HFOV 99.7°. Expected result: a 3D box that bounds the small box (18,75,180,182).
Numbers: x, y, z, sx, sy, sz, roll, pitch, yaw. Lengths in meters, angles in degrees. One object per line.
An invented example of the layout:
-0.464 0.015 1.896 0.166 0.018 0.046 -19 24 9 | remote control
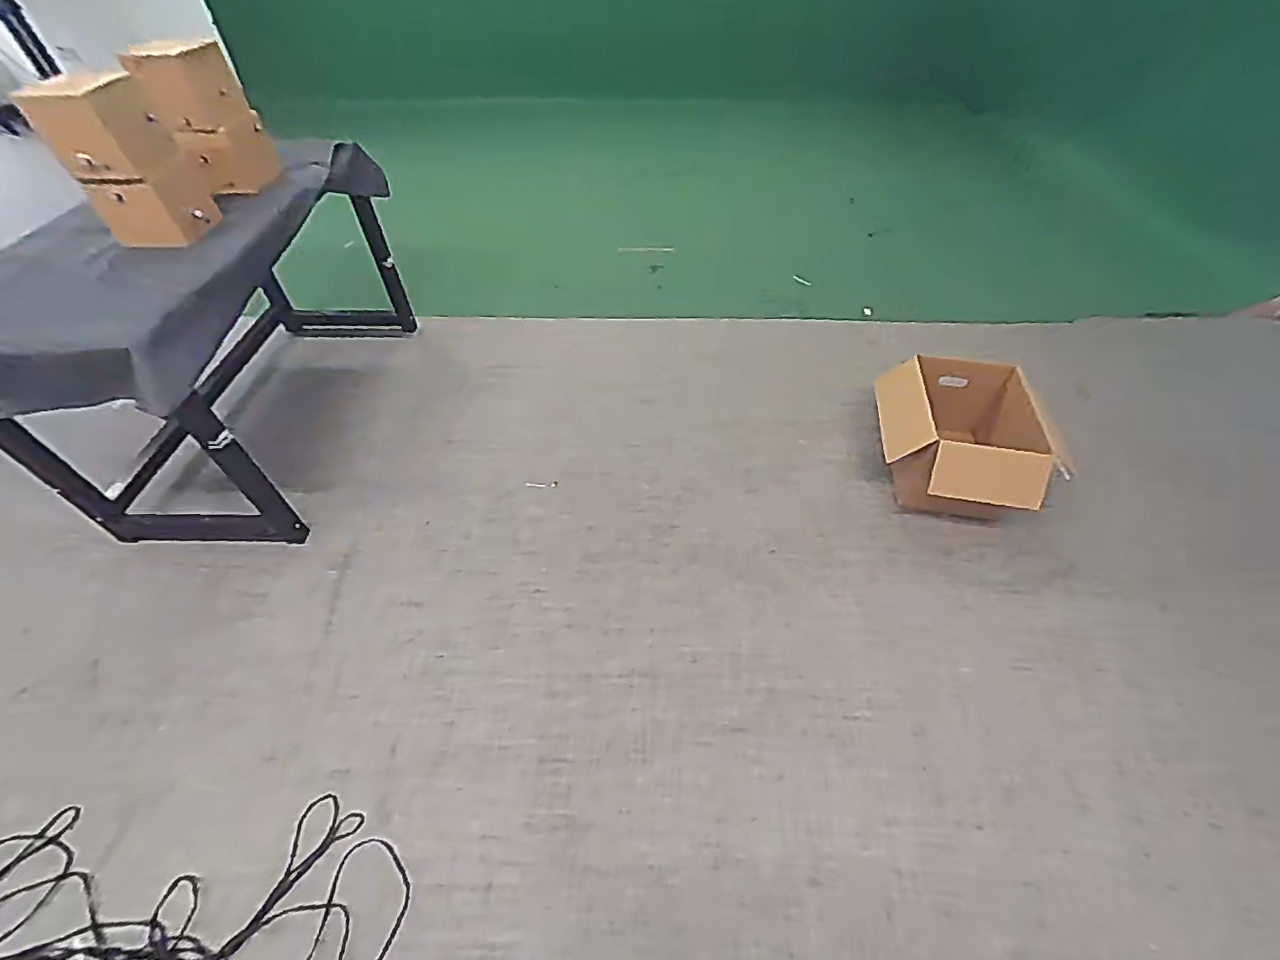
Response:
-1.222 -0.808 1.245 0.168 0.176 0.179 -1 50 1 | small box

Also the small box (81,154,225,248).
-1.221 -0.707 1.372 0.179 0.176 0.168 1 49 1 | small box

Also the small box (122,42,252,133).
-1.219 -1.067 1.465 0.168 0.176 0.179 4 49 5 | small box

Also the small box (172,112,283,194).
-1.201 -0.960 1.594 0.168 0.176 0.179 1 49 3 | small box
